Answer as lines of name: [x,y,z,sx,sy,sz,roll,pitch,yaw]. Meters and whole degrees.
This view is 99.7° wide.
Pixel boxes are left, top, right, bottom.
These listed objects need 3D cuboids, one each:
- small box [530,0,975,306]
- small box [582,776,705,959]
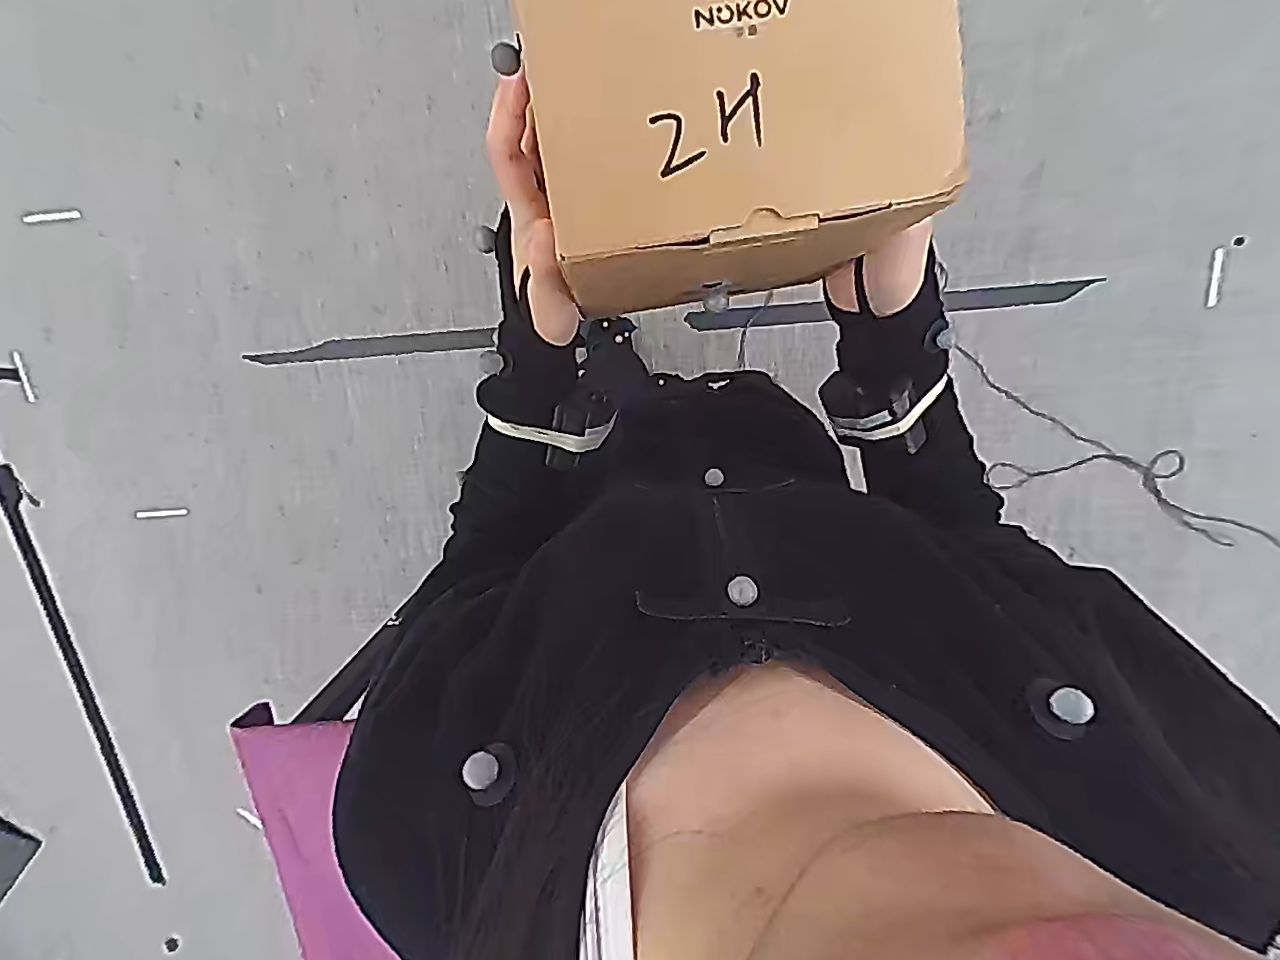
small box: [0.035,-0.202,0.277,0.168,0.176,0.179,-10,99,-1]
small box: [0.008,0.580,0.810,0.168,0.176,0.179,-3,104,0]
